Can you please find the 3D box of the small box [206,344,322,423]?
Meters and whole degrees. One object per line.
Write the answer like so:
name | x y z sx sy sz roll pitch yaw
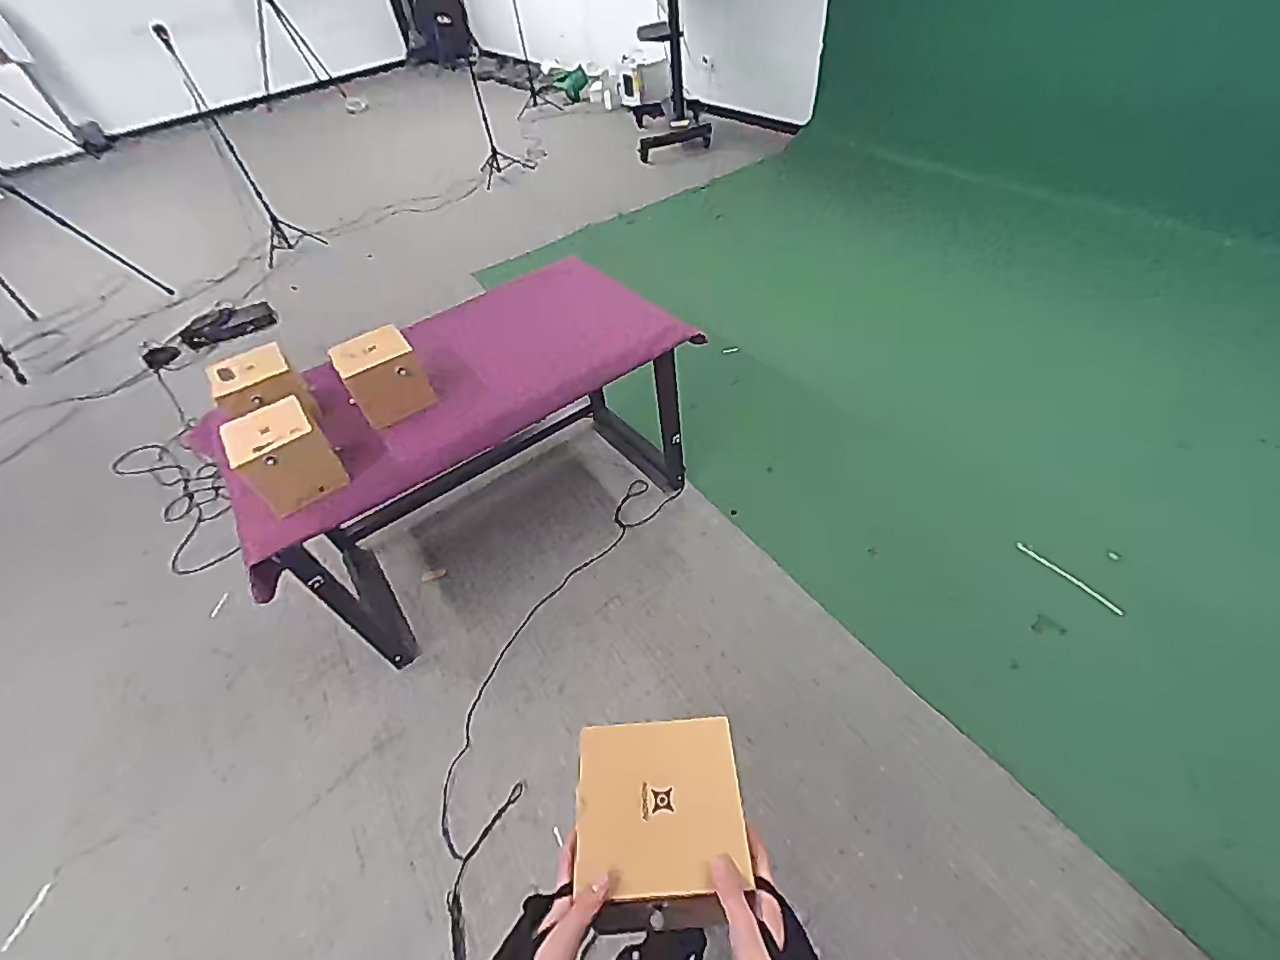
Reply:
small box | -0.960 -0.214 1.388 0.179 0.176 0.168 -30 52 -19

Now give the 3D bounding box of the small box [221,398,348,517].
small box | -0.794 -0.049 1.216 0.168 0.176 0.179 -32 50 -20

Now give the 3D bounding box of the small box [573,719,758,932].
small box | 0.027 0.392 0.614 0.179 0.176 0.168 -6 42 2

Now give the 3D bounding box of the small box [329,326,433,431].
small box | -0.655 -0.259 1.386 0.179 0.176 0.168 -30 51 -18
